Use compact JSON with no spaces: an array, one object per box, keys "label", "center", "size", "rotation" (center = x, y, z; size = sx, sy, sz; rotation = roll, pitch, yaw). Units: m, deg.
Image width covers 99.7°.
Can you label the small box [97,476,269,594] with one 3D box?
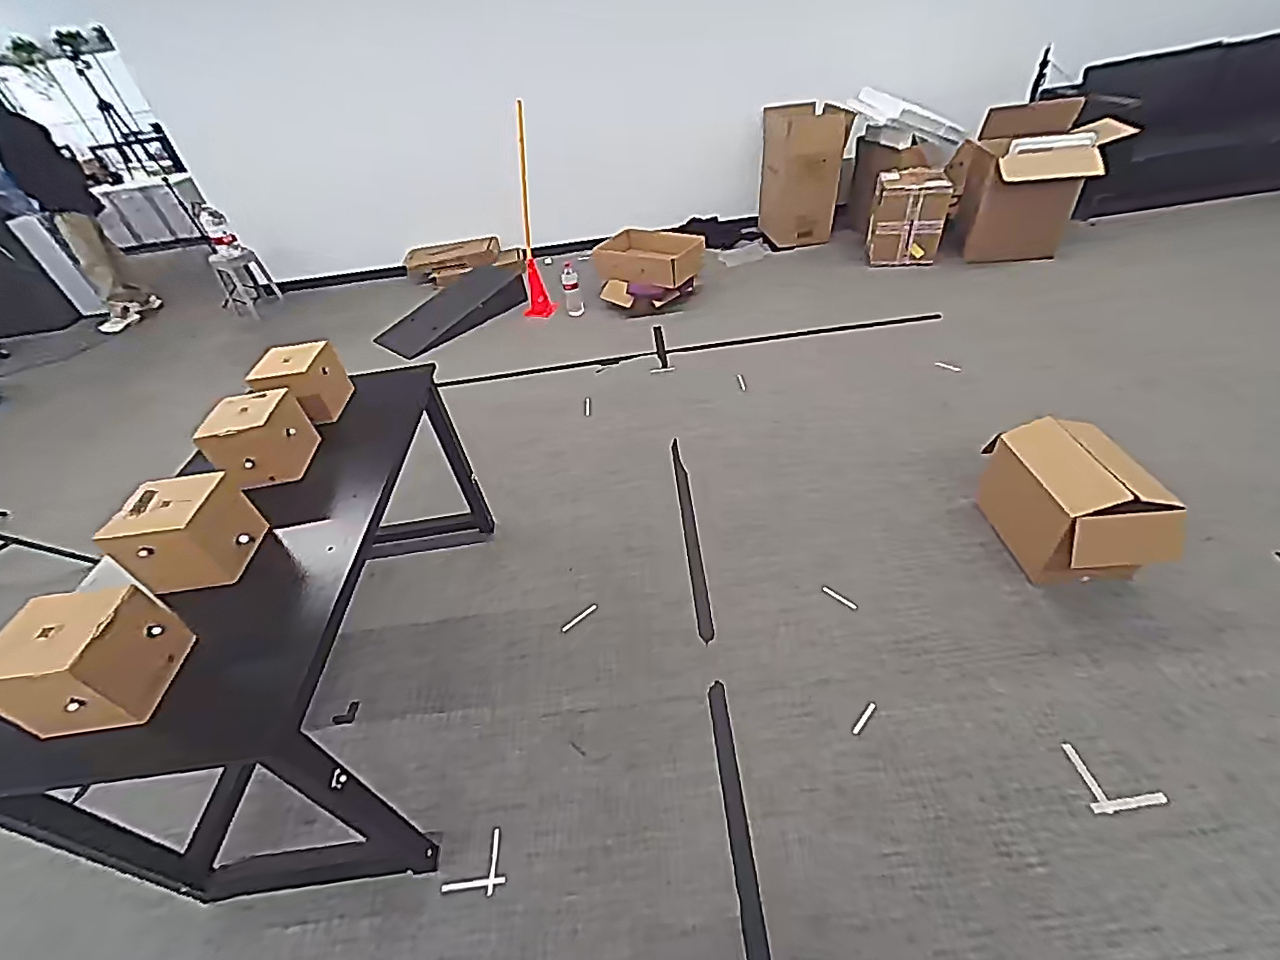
[{"label":"small box","center":[-0.925,0.117,1.115],"size":[0.179,0.176,0.168],"rotation":[-8,41,0]}]

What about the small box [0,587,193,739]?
[{"label":"small box","center":[-0.911,0.306,0.899],"size":[0.179,0.176,0.168],"rotation":[-9,40,0]}]

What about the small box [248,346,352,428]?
[{"label":"small box","center":[-0.956,-0.257,1.544],"size":[0.168,0.176,0.179],"rotation":[-8,42,1]}]

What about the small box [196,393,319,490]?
[{"label":"small box","center":[-0.943,-0.091,1.355],"size":[0.168,0.176,0.179],"rotation":[-10,42,-2]}]
